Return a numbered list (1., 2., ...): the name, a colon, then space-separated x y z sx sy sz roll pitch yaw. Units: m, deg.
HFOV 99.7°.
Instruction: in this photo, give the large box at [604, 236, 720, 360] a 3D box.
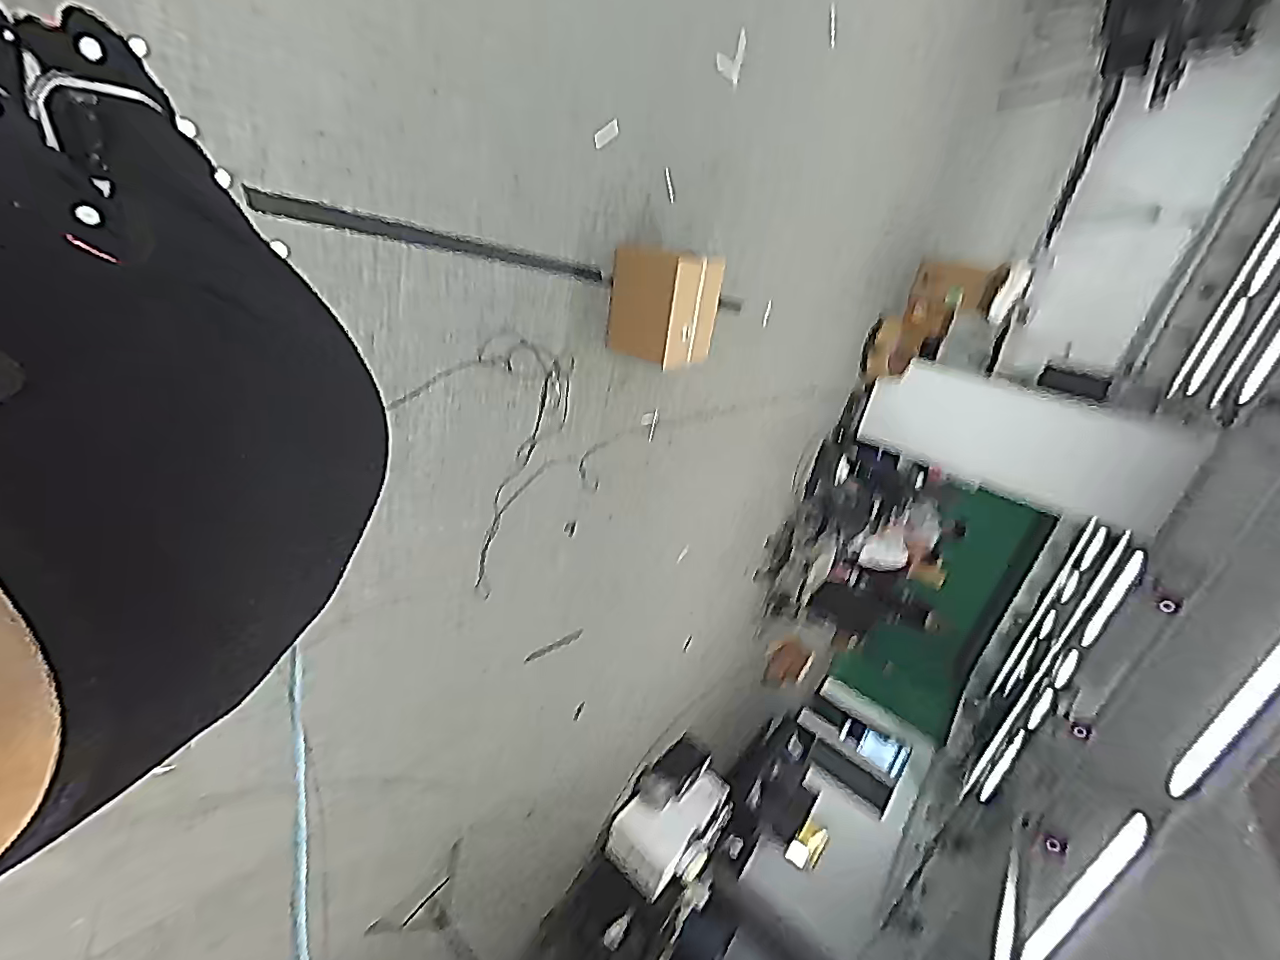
1. large box: 0.078 -0.736 2.159 0.320 0.320 0.408 -24 133 -46
